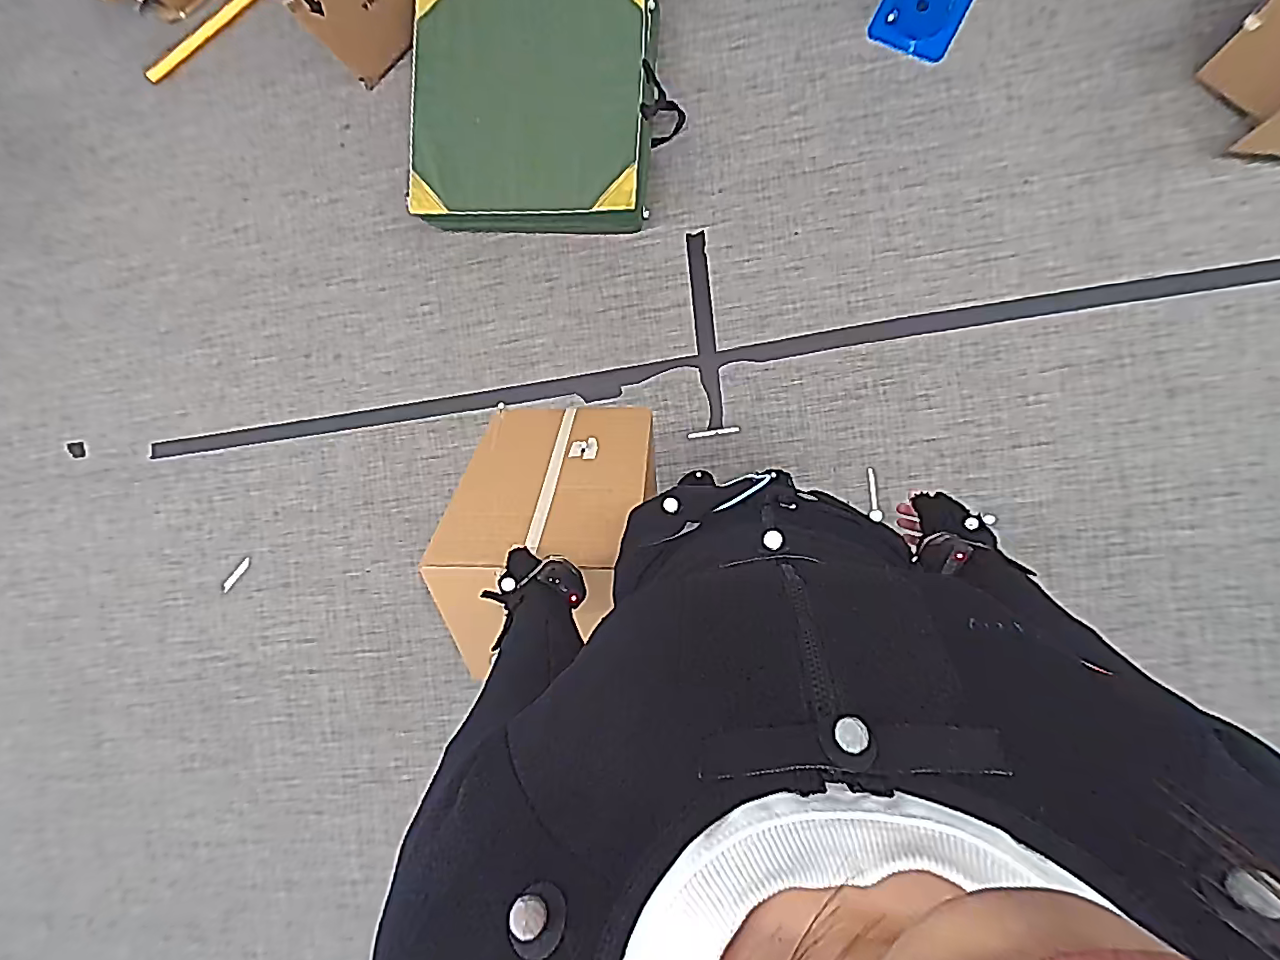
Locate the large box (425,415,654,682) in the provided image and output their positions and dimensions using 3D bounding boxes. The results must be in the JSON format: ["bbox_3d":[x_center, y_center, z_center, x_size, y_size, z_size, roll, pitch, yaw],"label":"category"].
[{"bbox_3d":[-0.141,0.119,1.014,0.320,0.408,0.320,1,129,6],"label":"large box"}]
